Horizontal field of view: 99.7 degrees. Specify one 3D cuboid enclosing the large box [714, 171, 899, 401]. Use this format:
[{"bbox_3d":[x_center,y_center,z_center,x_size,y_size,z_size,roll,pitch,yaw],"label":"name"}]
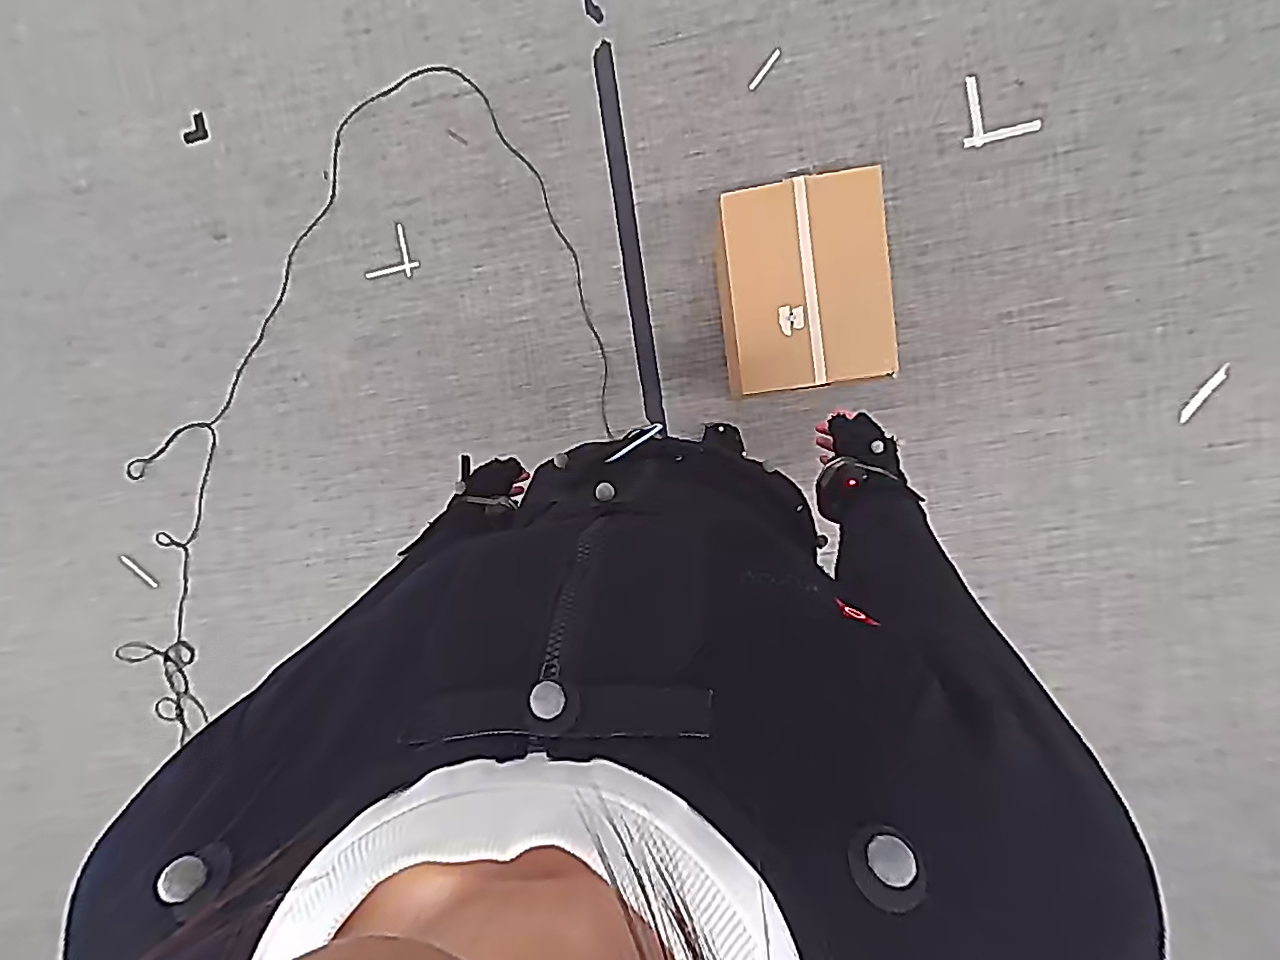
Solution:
[{"bbox_3d":[0.356,-0.405,1.234,0.320,0.320,0.408,-8,96,7],"label":"large box"}]
